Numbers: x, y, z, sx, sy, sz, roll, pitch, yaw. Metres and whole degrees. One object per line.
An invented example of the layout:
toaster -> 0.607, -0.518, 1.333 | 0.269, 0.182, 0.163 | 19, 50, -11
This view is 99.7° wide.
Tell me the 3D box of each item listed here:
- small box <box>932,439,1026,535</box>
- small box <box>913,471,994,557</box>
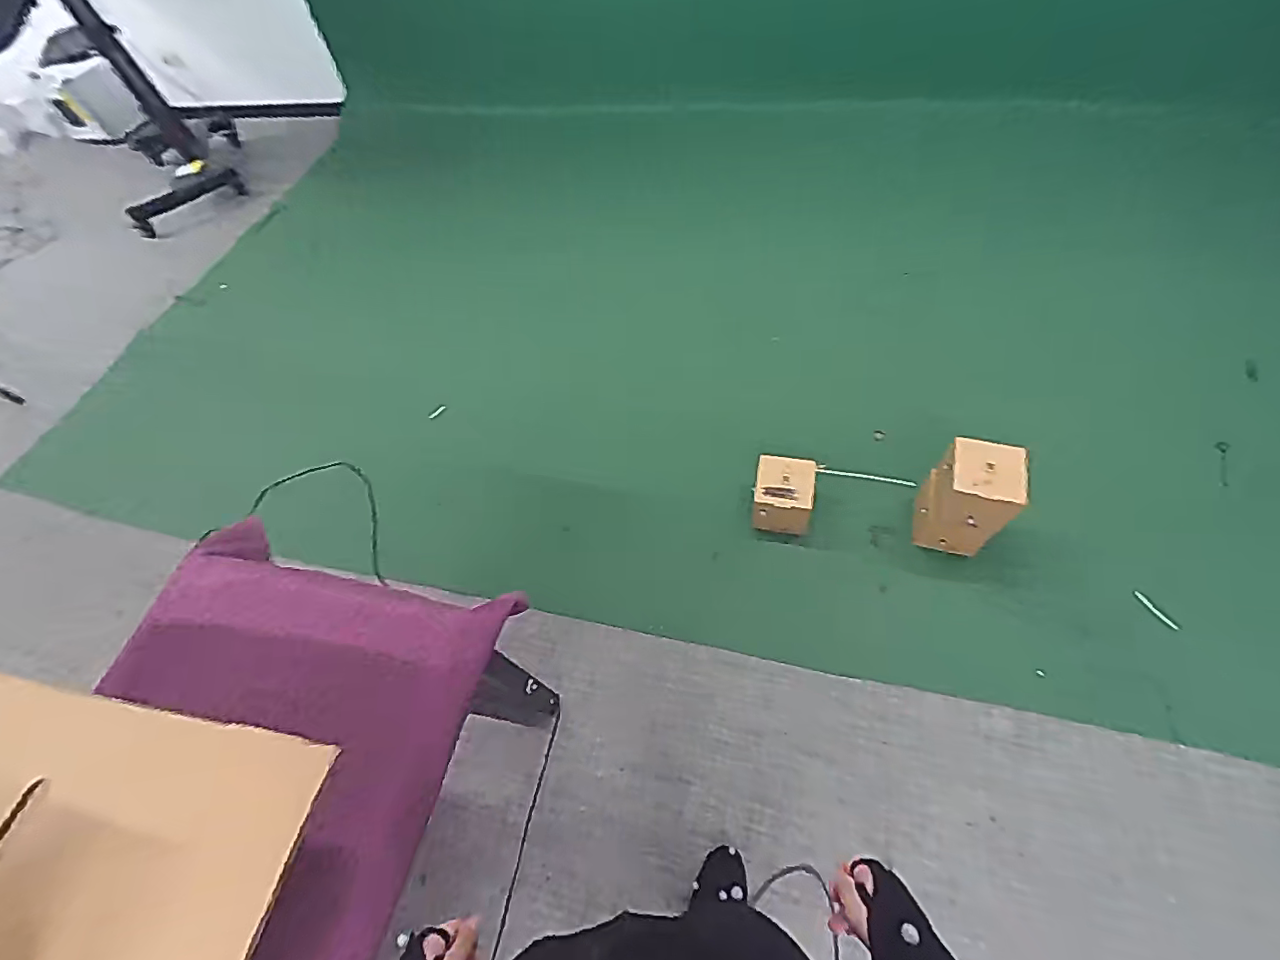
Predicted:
small box -> 0.899, 0.021, 1.445 | 0.168, 0.176, 0.179 | 13, 62, 15
small box -> 0.915, 0.103, 1.587 | 0.168, 0.176, 0.179 | 11, 61, 14
